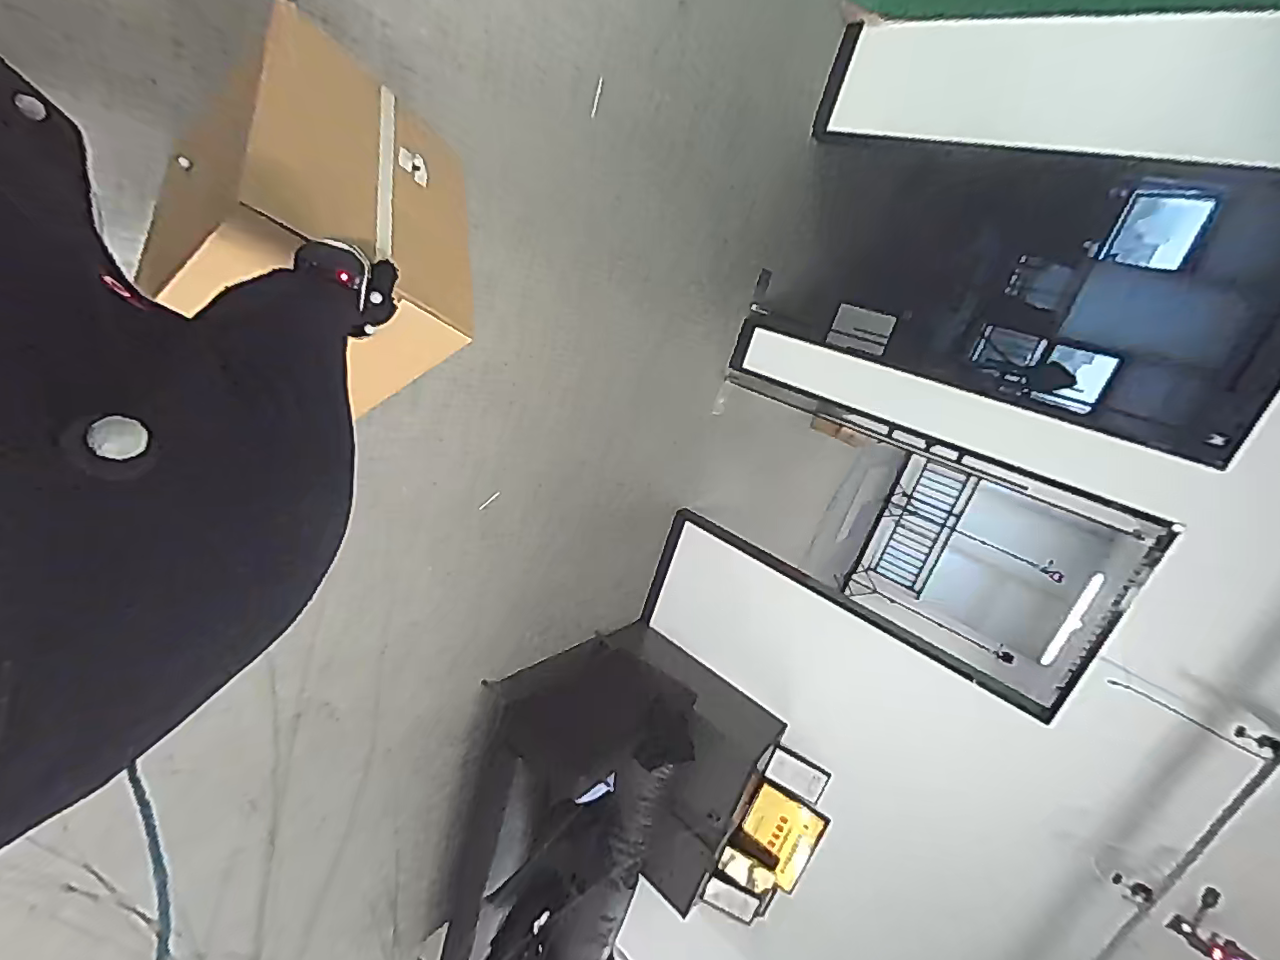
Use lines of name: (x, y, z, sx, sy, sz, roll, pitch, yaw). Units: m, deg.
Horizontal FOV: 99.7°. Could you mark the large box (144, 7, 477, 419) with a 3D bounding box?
large box: (-0.486, -0.366, 0.834, 0.320, 0.408, 0.320, -24, 154, 26)
